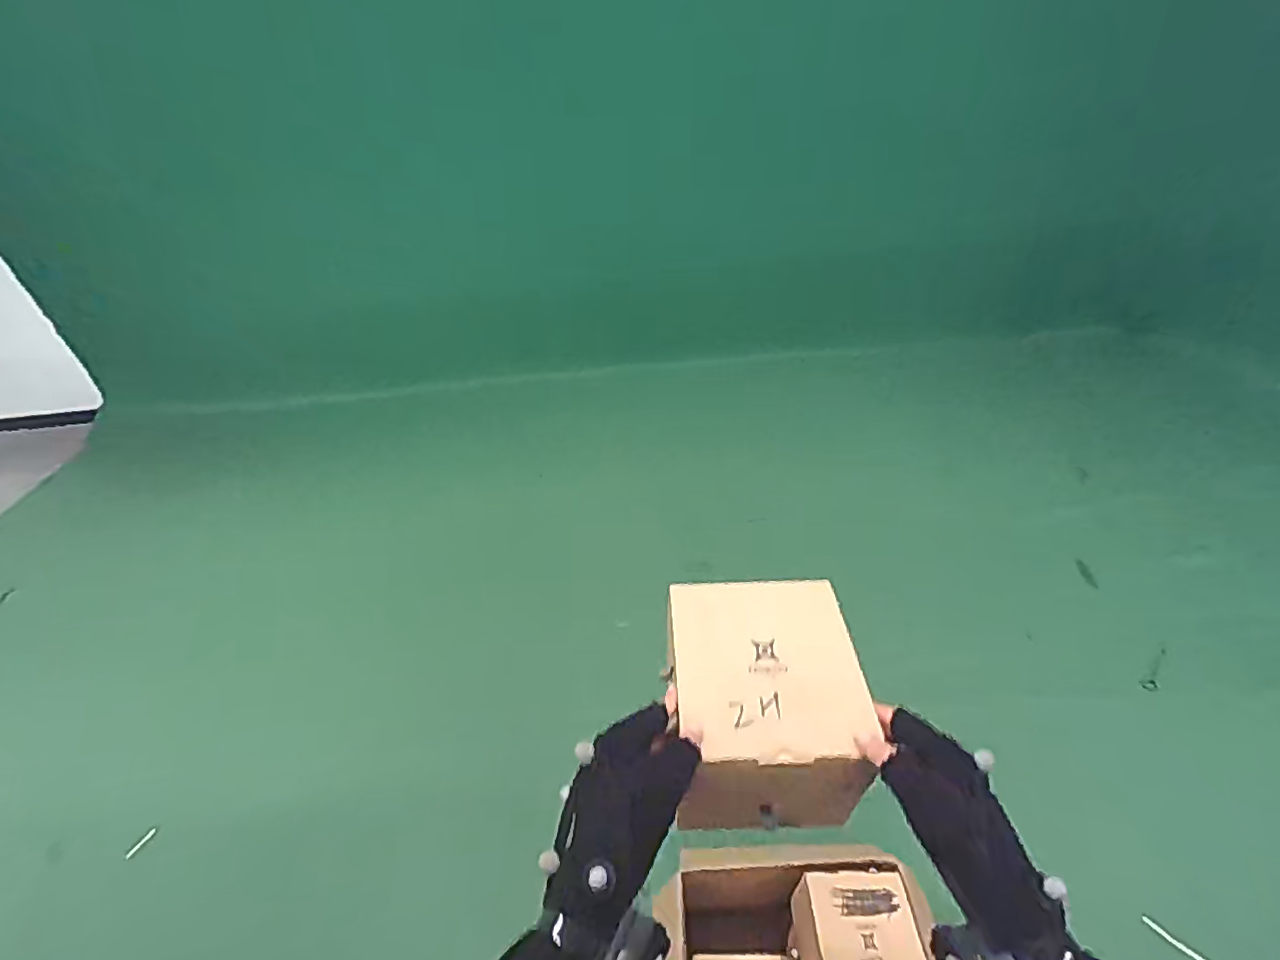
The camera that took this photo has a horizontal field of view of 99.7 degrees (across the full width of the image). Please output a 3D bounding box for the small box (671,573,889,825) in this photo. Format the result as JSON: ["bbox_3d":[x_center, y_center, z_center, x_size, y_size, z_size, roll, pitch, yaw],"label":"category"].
[{"bbox_3d":[0.116,0.214,0.538,0.168,0.176,0.179,-2,39,1],"label":"small box"}]
